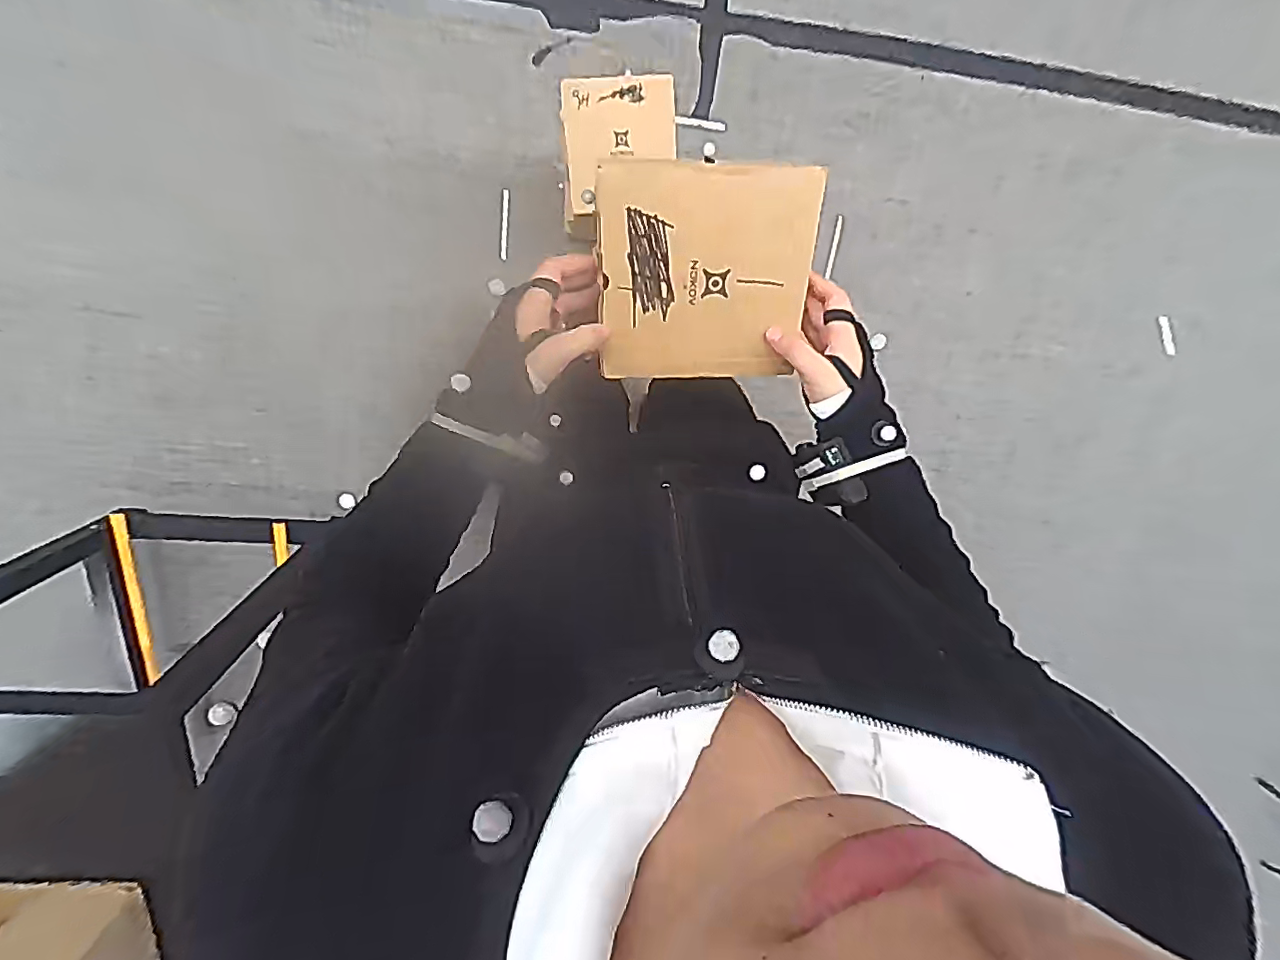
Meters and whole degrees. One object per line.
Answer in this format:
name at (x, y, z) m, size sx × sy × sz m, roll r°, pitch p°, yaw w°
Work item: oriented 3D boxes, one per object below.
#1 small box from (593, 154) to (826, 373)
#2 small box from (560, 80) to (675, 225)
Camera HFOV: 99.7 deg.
small box at (0.047, -0.208, 0.508) m, size 0.179 × 0.176 × 0.168 m, roll -2°, pitch 122°, yaw -4°
small box at (-0.034, -0.514, 0.874) m, size 0.168 × 0.176 × 0.179 m, roll -5°, pitch 110°, yaw -3°
